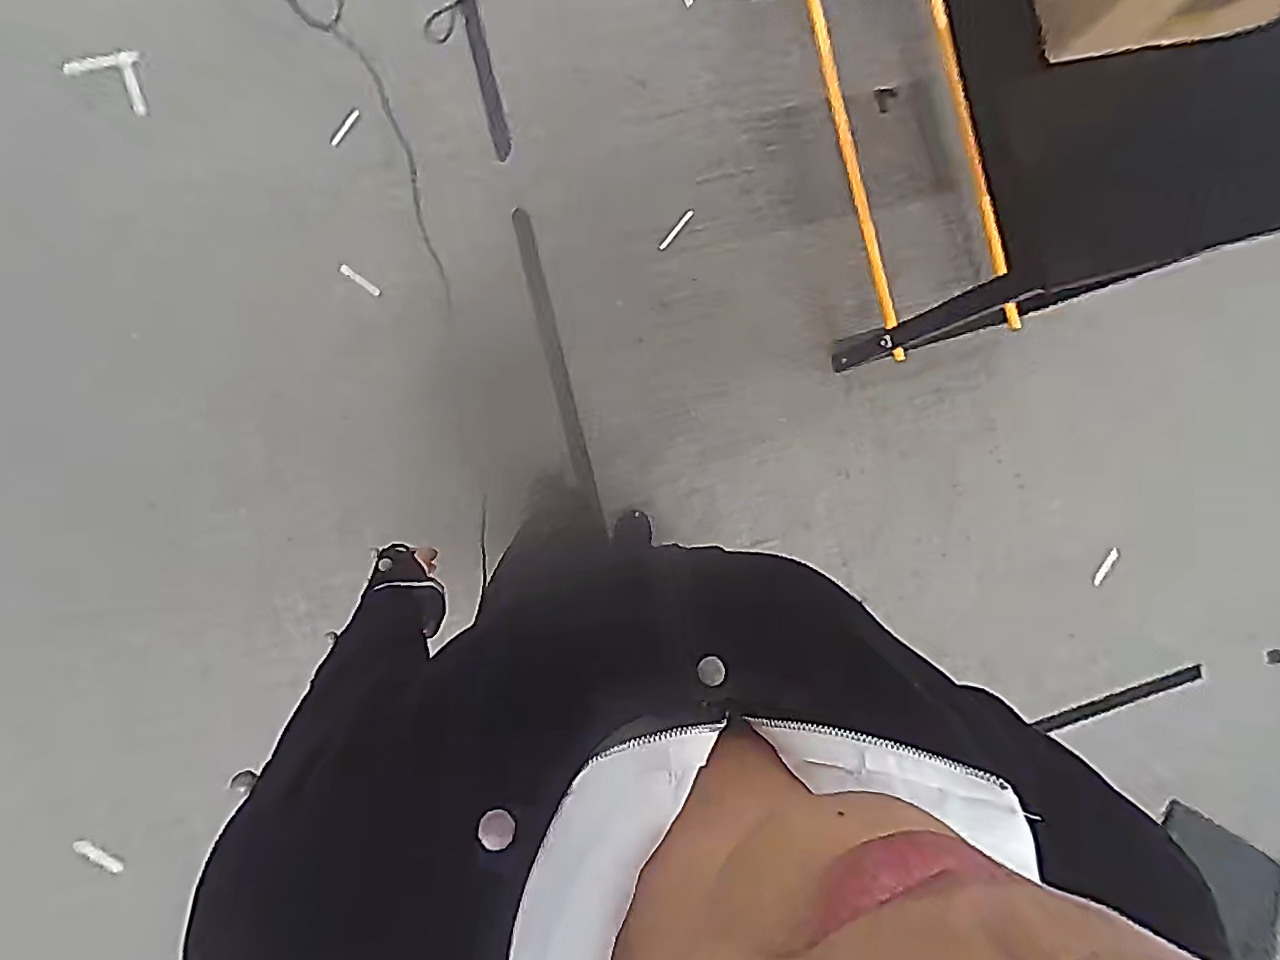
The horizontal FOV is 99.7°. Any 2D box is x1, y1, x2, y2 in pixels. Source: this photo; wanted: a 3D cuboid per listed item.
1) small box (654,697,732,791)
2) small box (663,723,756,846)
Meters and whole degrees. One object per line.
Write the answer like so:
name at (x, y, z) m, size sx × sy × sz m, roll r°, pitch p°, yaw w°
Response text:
small box at (0.145, 0.705, 1.445) m, size 0.179 × 0.176 × 0.168 m, roll -11°, pitch 91°, yaw -6°
small box at (0.159, 0.712, 1.281) m, size 0.168 × 0.176 × 0.179 m, roll -11°, pitch 91°, yaw -7°
